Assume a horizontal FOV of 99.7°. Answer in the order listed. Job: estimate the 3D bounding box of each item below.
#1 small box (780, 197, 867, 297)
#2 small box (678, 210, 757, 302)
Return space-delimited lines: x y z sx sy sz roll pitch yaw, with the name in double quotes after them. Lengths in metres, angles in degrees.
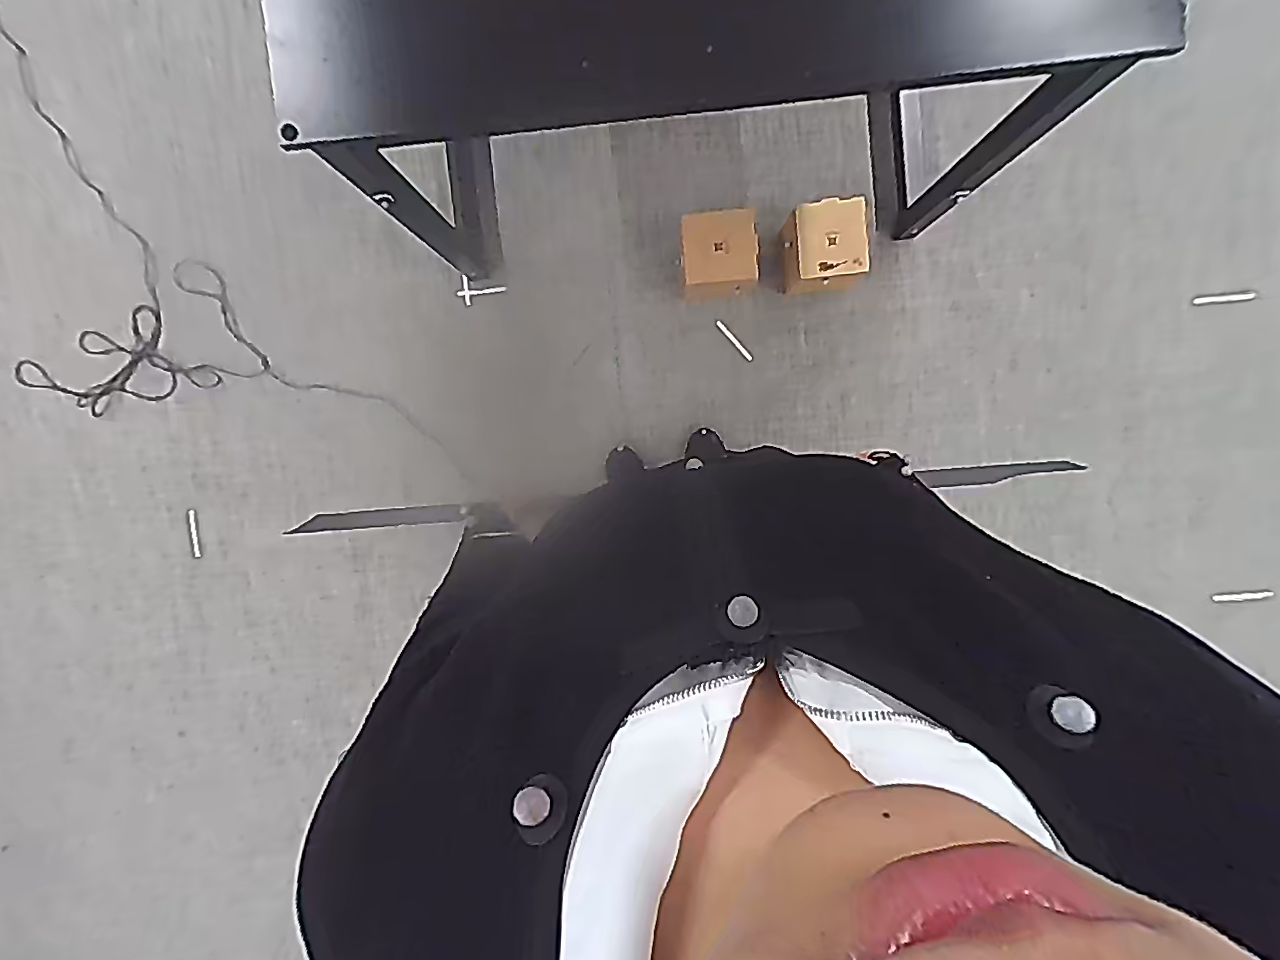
0.453 -0.577 1.357 0.168 0.176 0.179 -6 94 3 "small box"
0.191 -0.560 1.370 0.179 0.176 0.168 -5 93 3 "small box"
